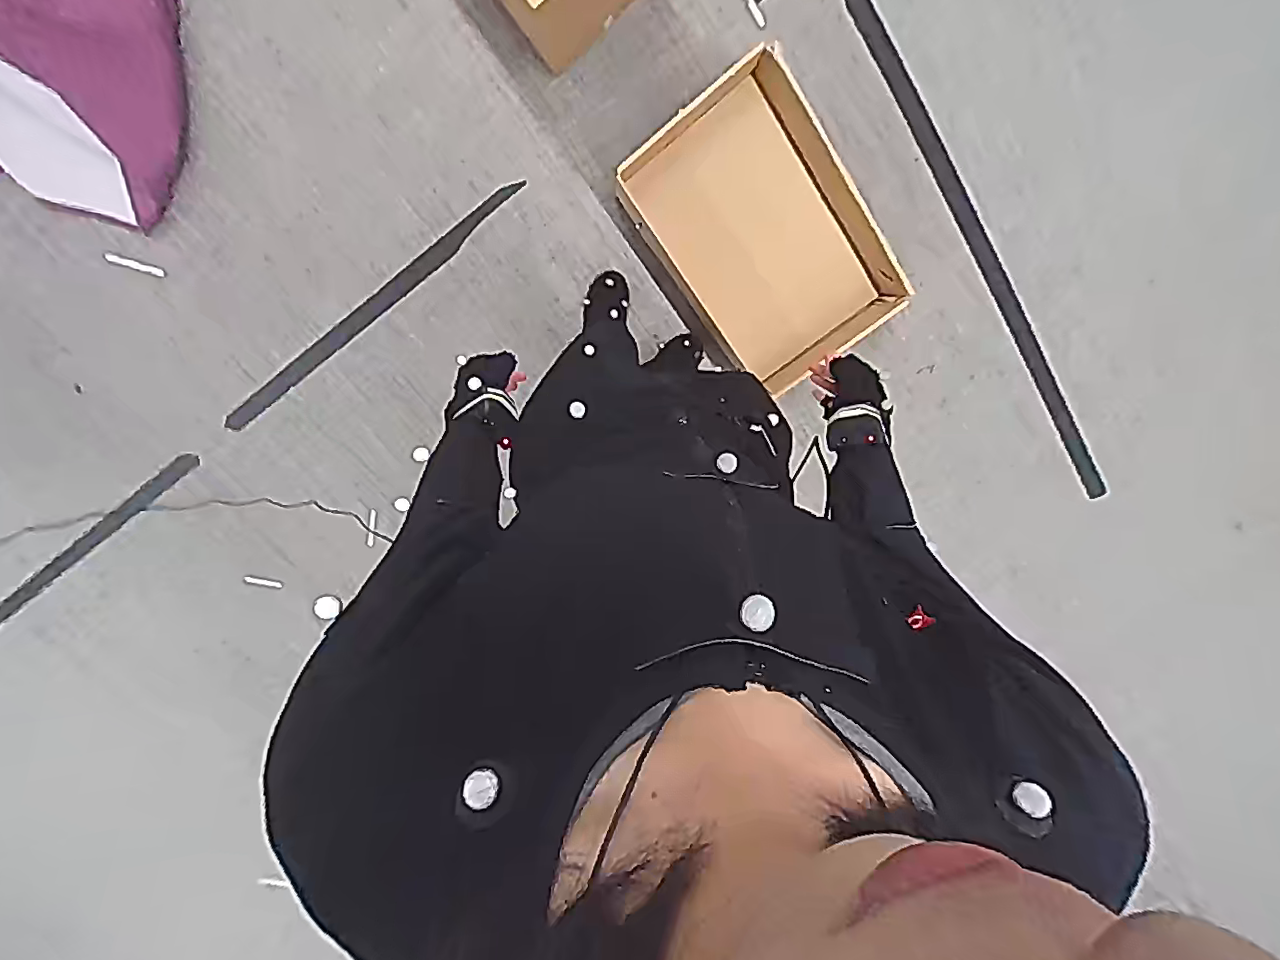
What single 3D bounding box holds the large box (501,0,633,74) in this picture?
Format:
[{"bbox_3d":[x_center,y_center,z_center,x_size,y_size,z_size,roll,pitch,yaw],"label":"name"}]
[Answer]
[{"bbox_3d":[-0.193,-1.105,1.013,0.320,0.320,0.408,-39,106,12],"label":"large box"}]
